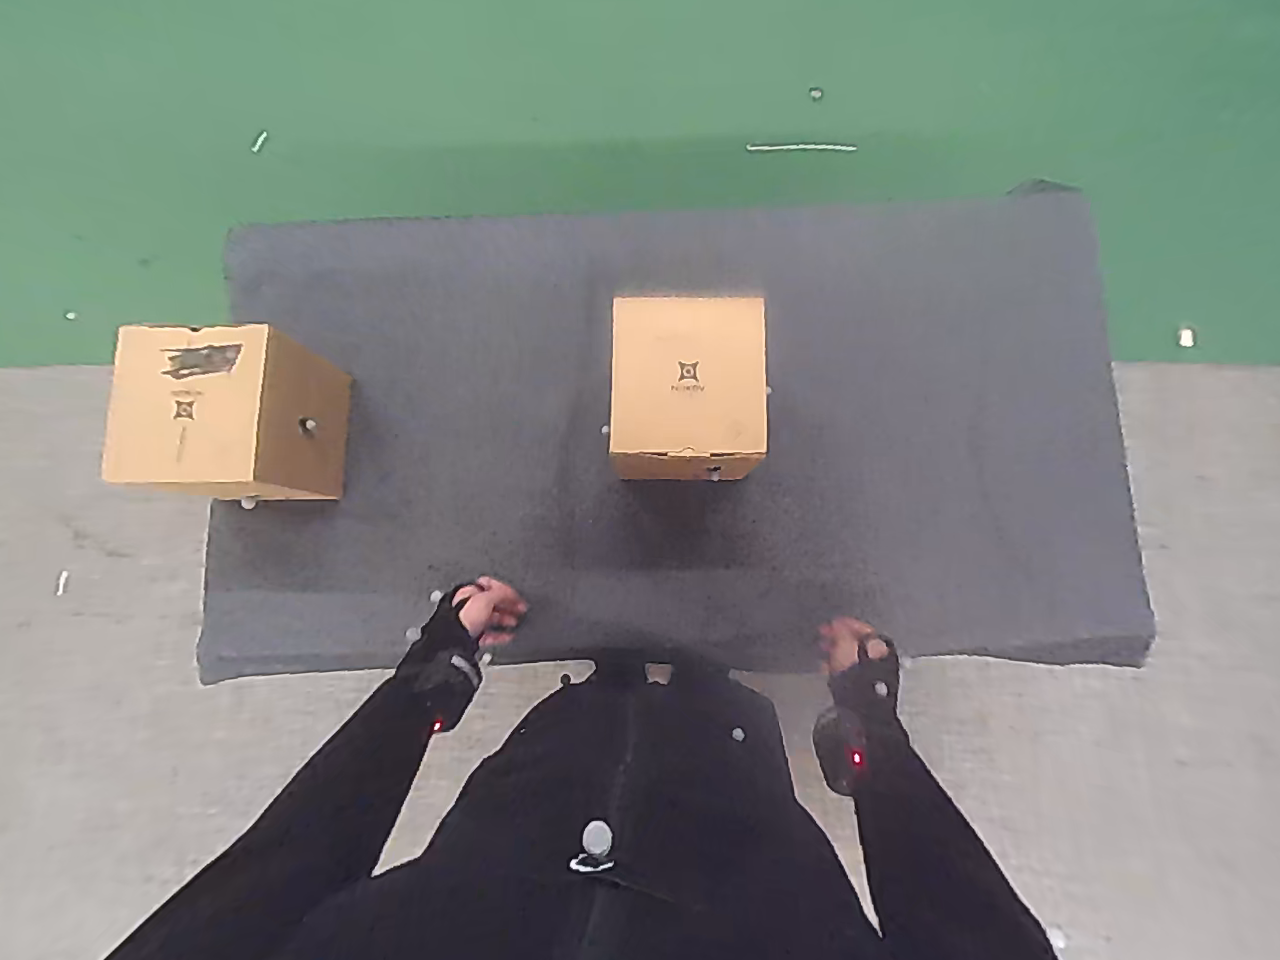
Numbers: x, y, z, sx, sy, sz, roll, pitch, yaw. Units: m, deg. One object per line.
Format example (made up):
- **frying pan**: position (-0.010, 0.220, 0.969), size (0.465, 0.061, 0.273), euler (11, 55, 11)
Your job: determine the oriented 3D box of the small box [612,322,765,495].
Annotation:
- **small box**: position (0.053, -0.076, 0.664), size (0.168, 0.176, 0.179), euler (-1, 80, 0)
